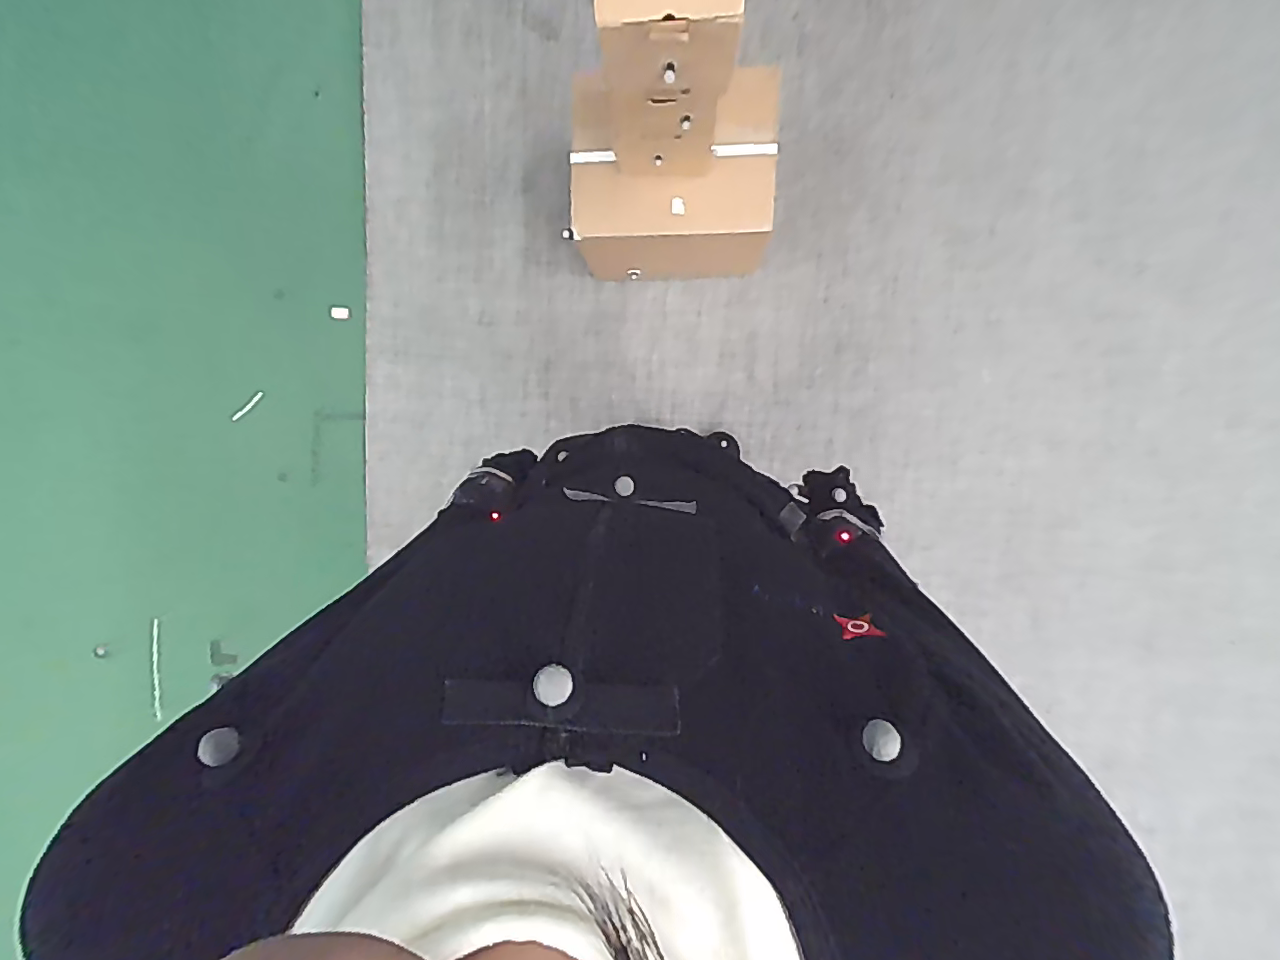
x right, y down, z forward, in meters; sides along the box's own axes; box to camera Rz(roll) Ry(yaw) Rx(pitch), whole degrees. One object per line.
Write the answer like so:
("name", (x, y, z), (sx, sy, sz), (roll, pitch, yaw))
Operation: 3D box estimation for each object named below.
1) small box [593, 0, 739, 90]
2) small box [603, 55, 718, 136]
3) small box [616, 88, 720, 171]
("small box", (0.037, -0.605, 0.656), (0.168, 0.176, 0.179), (1, 102, 4))
("small box", (0.037, -0.644, 0.815), (0.168, 0.176, 0.179), (1, 100, 4))
("small box", (0.051, -0.675, 0.974), (0.179, 0.176, 0.168), (0, 102, 5))
